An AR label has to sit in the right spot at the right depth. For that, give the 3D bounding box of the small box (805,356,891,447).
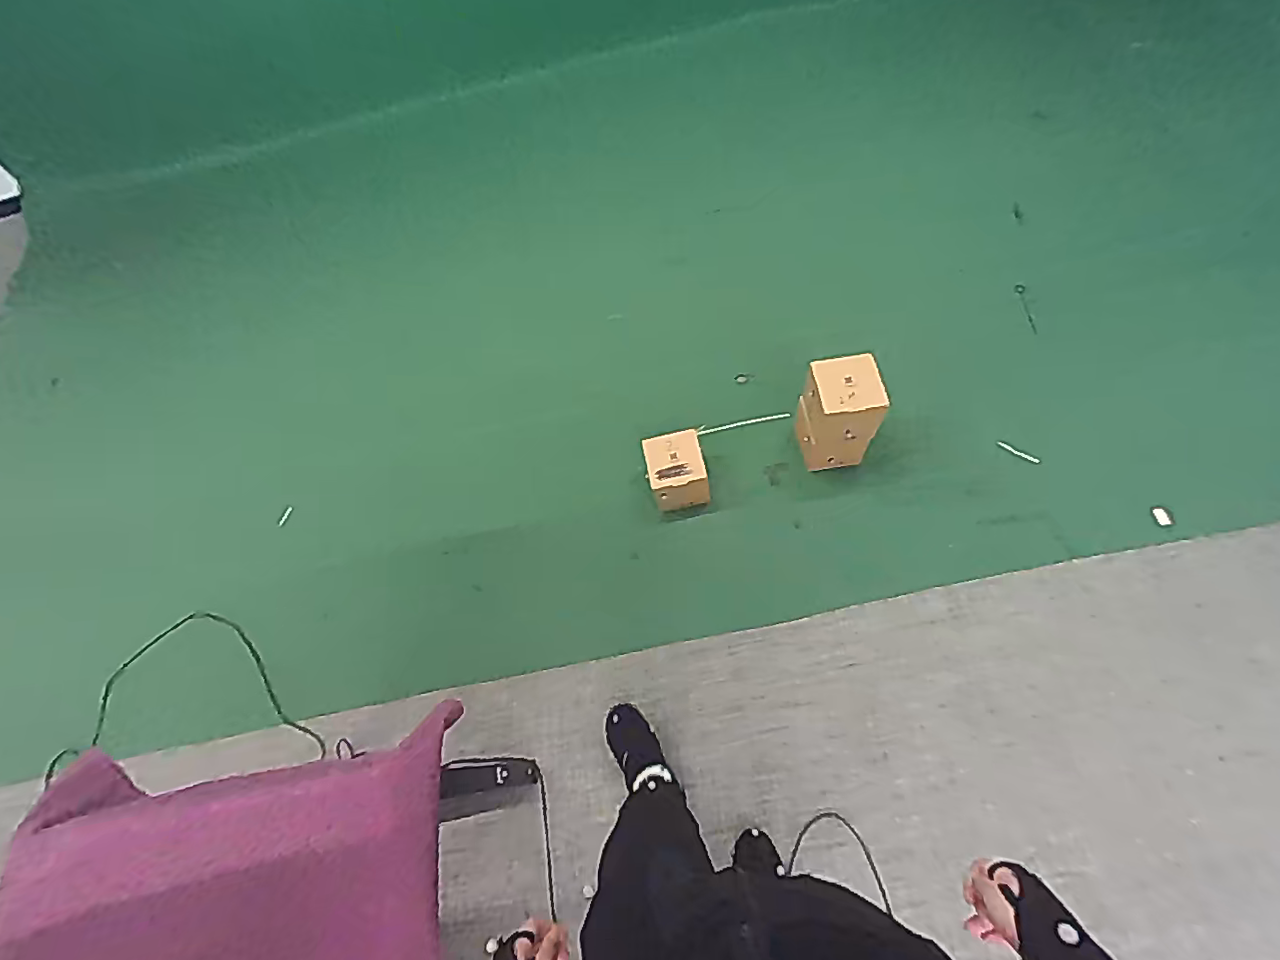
[{"bbox_3d":[0.566,-0.213,1.498,0.168,0.176,0.179,-8,63,5],"label":"small box"}]

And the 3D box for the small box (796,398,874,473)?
[{"bbox_3d":[0.584,-0.144,1.646,0.168,0.176,0.179,-9,63,4],"label":"small box"}]
